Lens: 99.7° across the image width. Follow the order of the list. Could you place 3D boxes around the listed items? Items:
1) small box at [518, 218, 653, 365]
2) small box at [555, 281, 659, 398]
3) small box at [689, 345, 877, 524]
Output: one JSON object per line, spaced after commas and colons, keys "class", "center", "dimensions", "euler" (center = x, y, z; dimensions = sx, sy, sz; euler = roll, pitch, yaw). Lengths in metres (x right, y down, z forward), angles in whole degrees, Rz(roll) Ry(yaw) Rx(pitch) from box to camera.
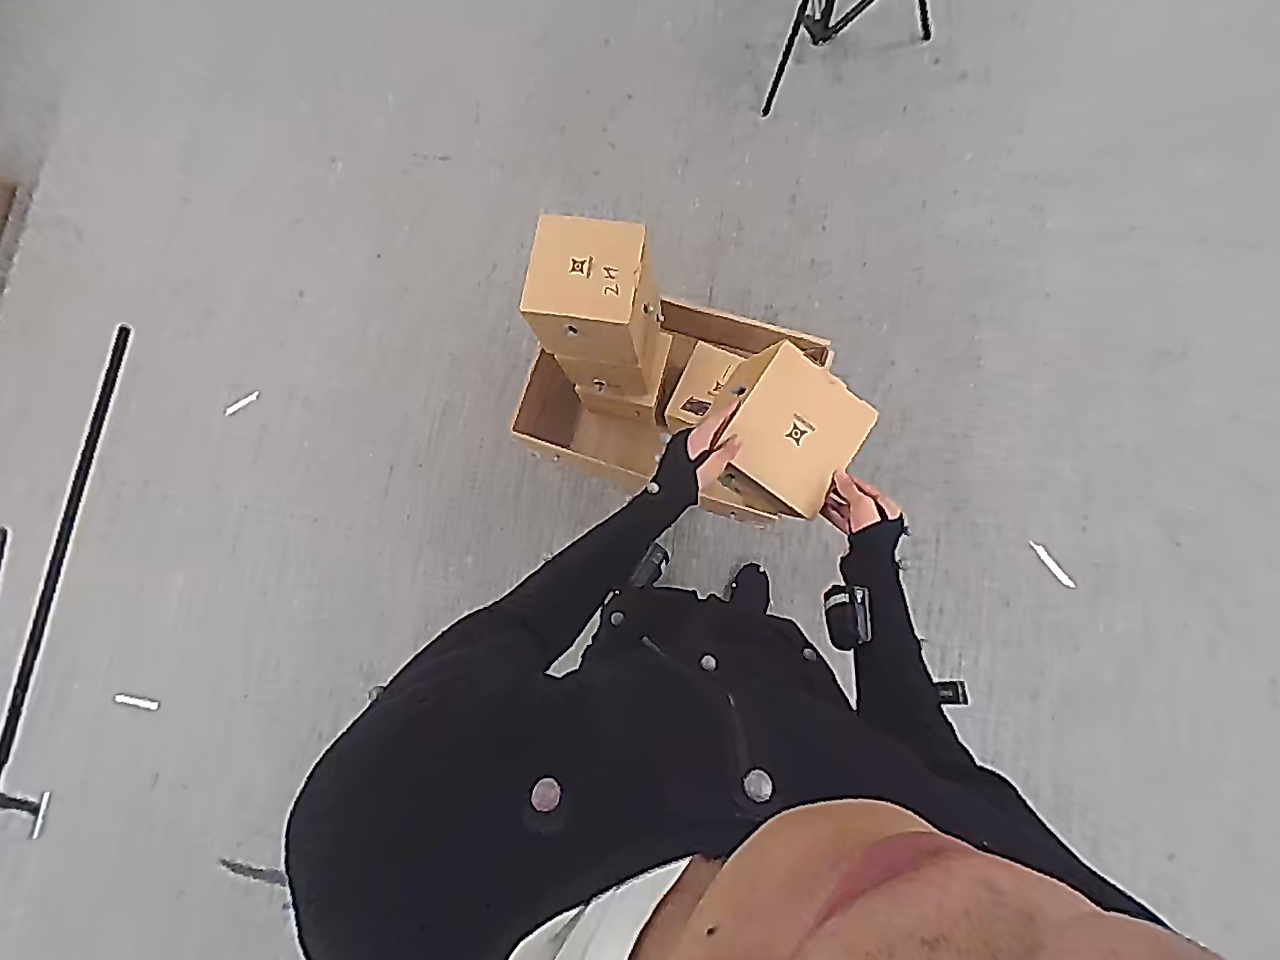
{"class": "small box", "center": [-0.081, -0.306, 0.905], "dimensions": [0.179, 0.176, 0.168], "euler": [9, 83, 6]}
{"class": "small box", "center": [-0.056, -0.280, 1.065], "dimensions": [0.168, 0.176, 0.179], "euler": [9, 82, 6]}
{"class": "small box", "center": [0.187, -0.058, 0.771], "dimensions": [0.168, 0.176, 0.179], "euler": [35, 84, -9]}
